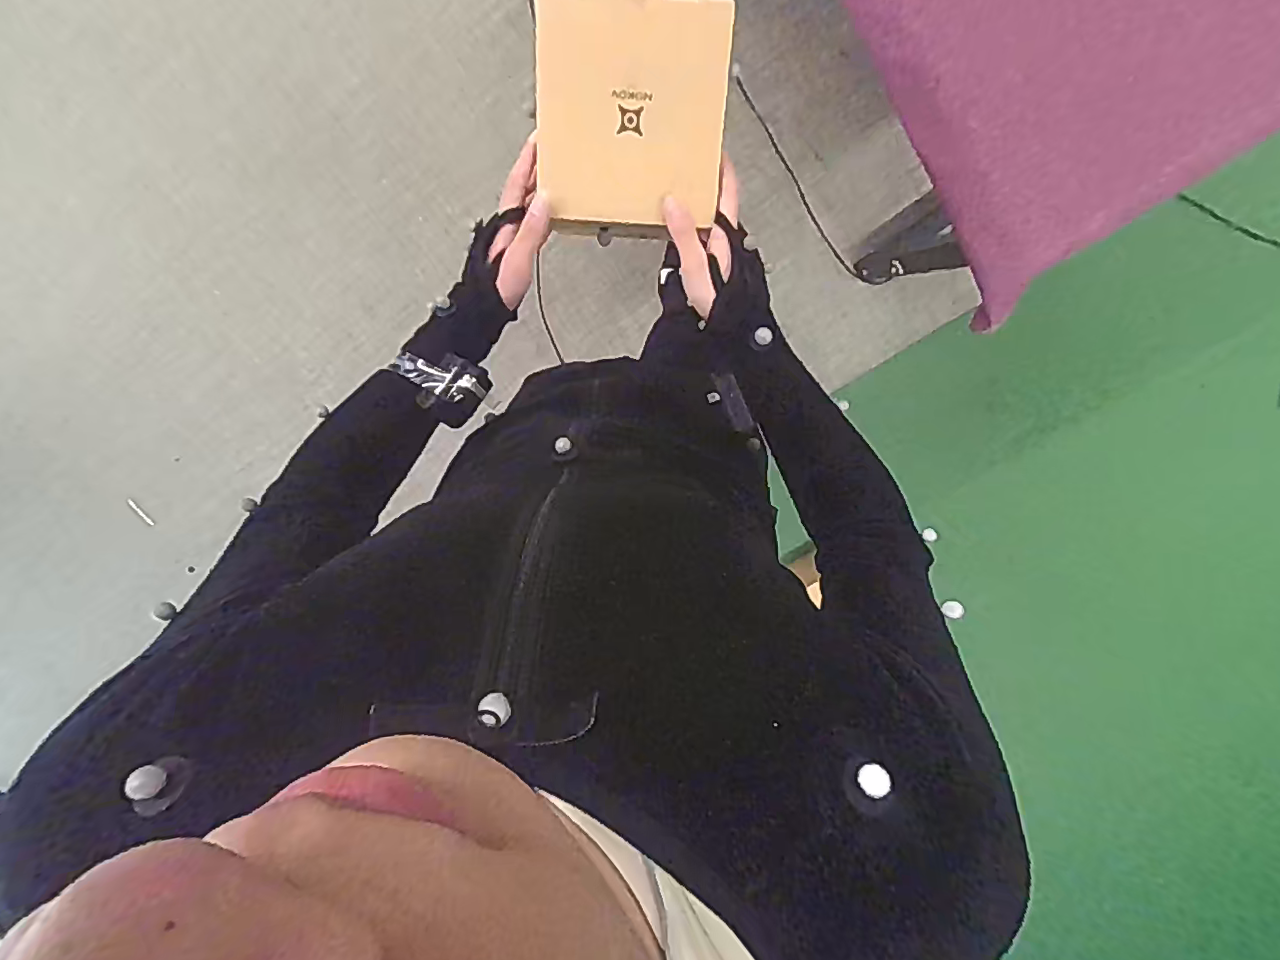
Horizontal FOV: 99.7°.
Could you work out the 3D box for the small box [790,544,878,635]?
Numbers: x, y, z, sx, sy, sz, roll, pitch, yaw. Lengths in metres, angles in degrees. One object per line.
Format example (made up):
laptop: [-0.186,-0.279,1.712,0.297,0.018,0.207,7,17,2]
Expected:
small box: [0.579,0.326,1.633,0.168,0.176,0.179,-33,103,11]

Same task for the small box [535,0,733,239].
small box: [-0.010,-0.345,0.542,0.168,0.176,0.179,2,108,-2]
